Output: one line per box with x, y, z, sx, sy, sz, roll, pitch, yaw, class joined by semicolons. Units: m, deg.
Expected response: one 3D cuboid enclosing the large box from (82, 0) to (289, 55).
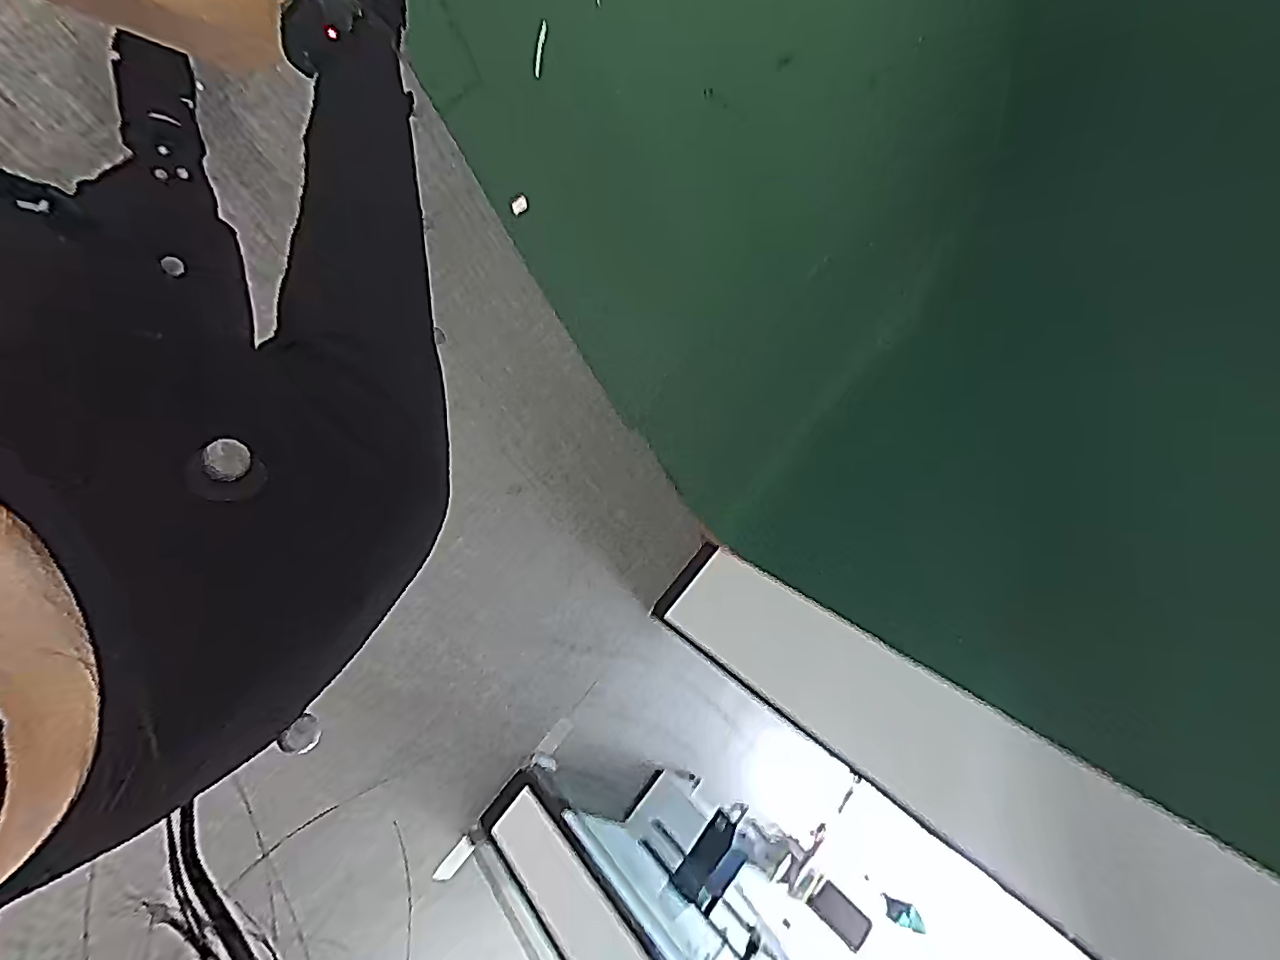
-0.534;-0.604;0.422;0.408;0.320;0.320;-4;118;-43;large box
